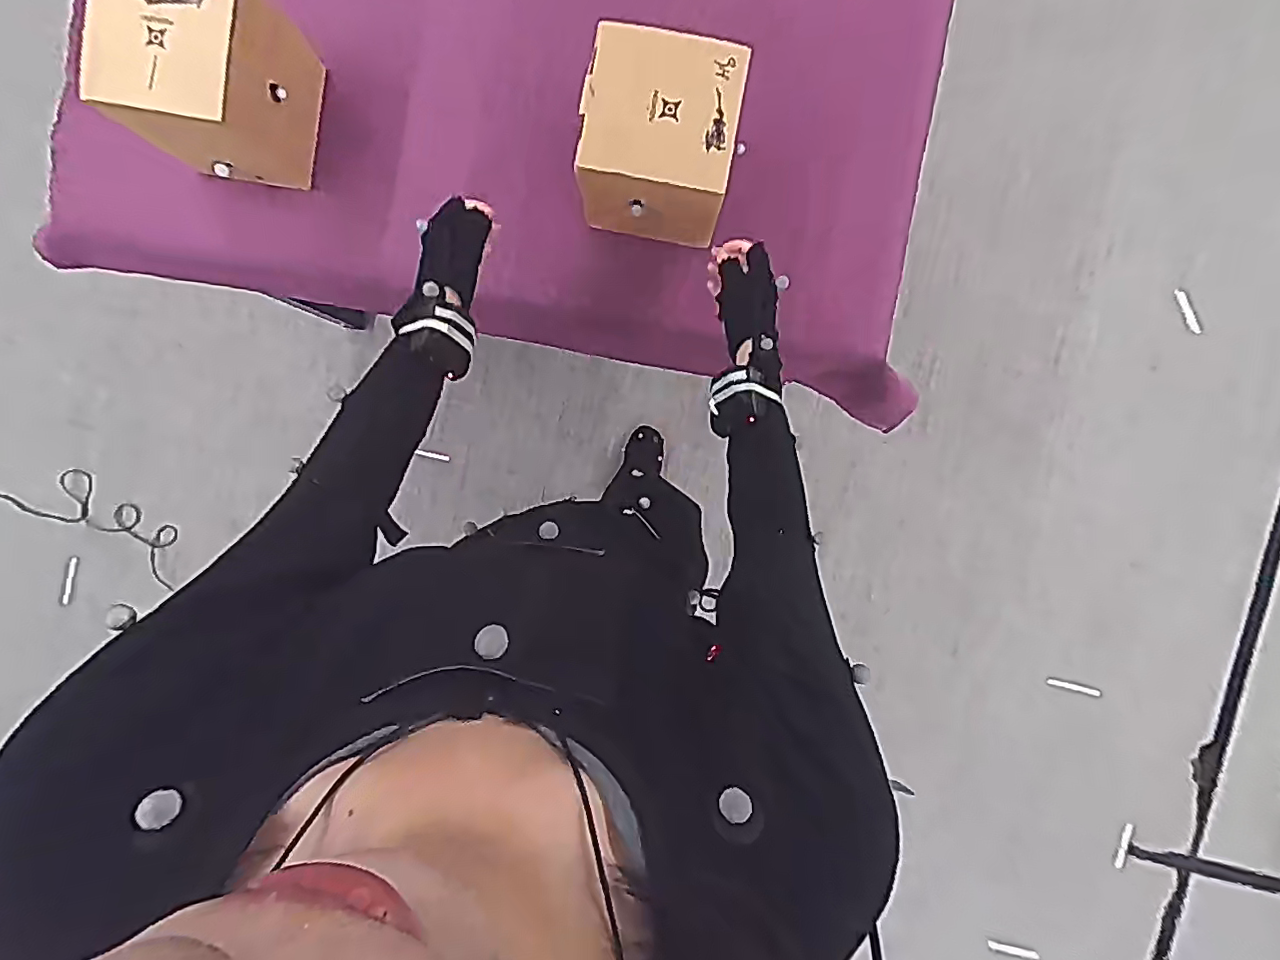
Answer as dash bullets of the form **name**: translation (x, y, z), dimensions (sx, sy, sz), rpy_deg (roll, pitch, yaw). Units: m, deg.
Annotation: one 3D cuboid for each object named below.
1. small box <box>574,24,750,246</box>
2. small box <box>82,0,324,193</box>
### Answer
- **small box**: translation (0.026, -0.420, 0.688), dimensions (0.179, 0.176, 0.168), rpy_deg (11, 92, 1)
- **small box**: translation (-0.533, -0.502, 0.685), dimensions (0.168, 0.176, 0.179), rpy_deg (9, 93, 0)
